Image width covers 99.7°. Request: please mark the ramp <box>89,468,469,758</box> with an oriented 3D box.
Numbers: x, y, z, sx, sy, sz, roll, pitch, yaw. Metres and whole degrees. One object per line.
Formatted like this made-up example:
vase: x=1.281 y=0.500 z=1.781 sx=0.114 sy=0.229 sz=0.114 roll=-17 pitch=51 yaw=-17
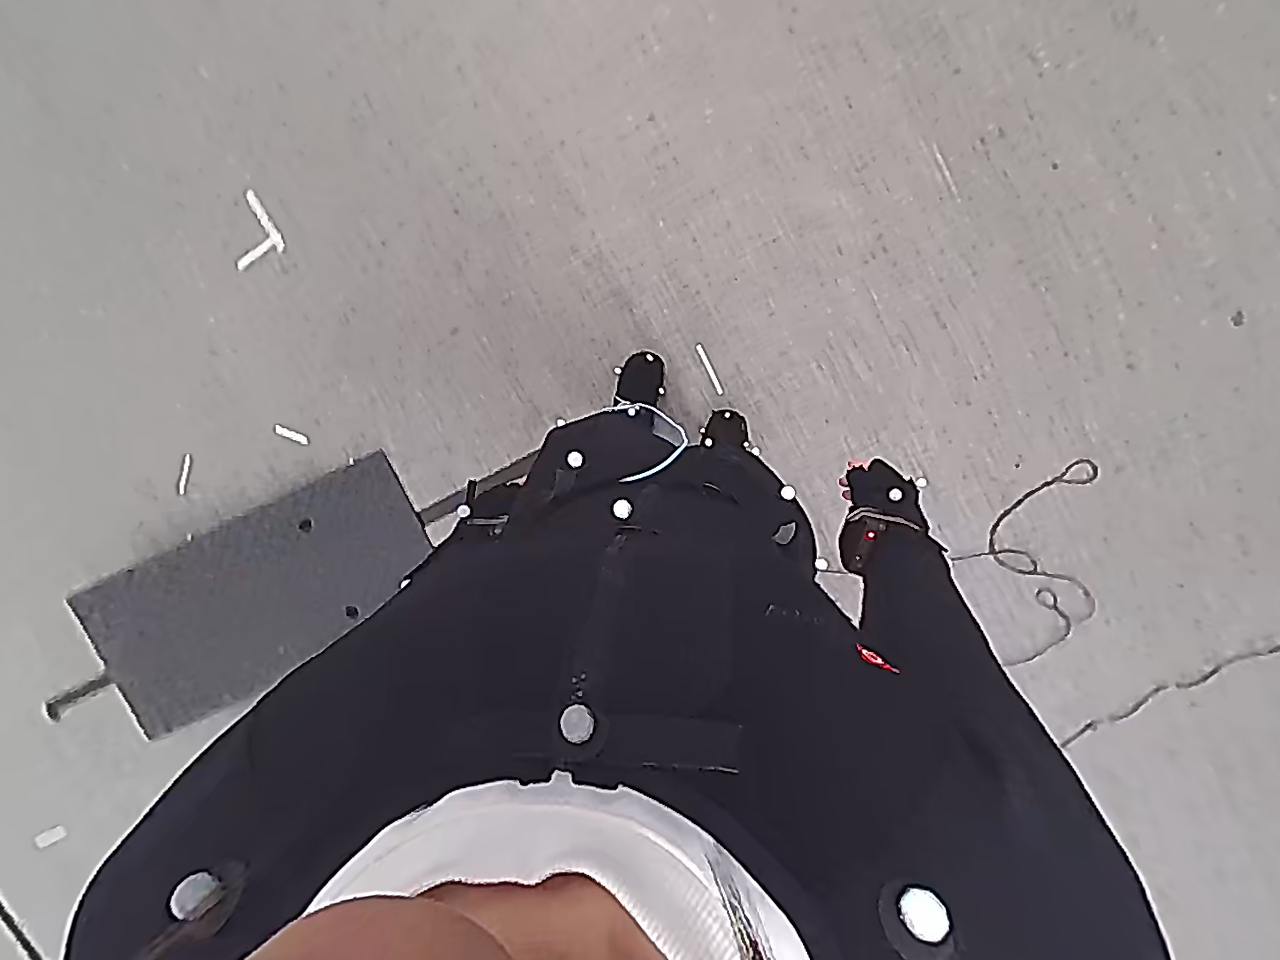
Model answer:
ramp: x=-1.052 y=0.390 z=1.587 sx=0.991 sy=0.206 sz=0.509 roll=-27 pitch=93 yaw=11
